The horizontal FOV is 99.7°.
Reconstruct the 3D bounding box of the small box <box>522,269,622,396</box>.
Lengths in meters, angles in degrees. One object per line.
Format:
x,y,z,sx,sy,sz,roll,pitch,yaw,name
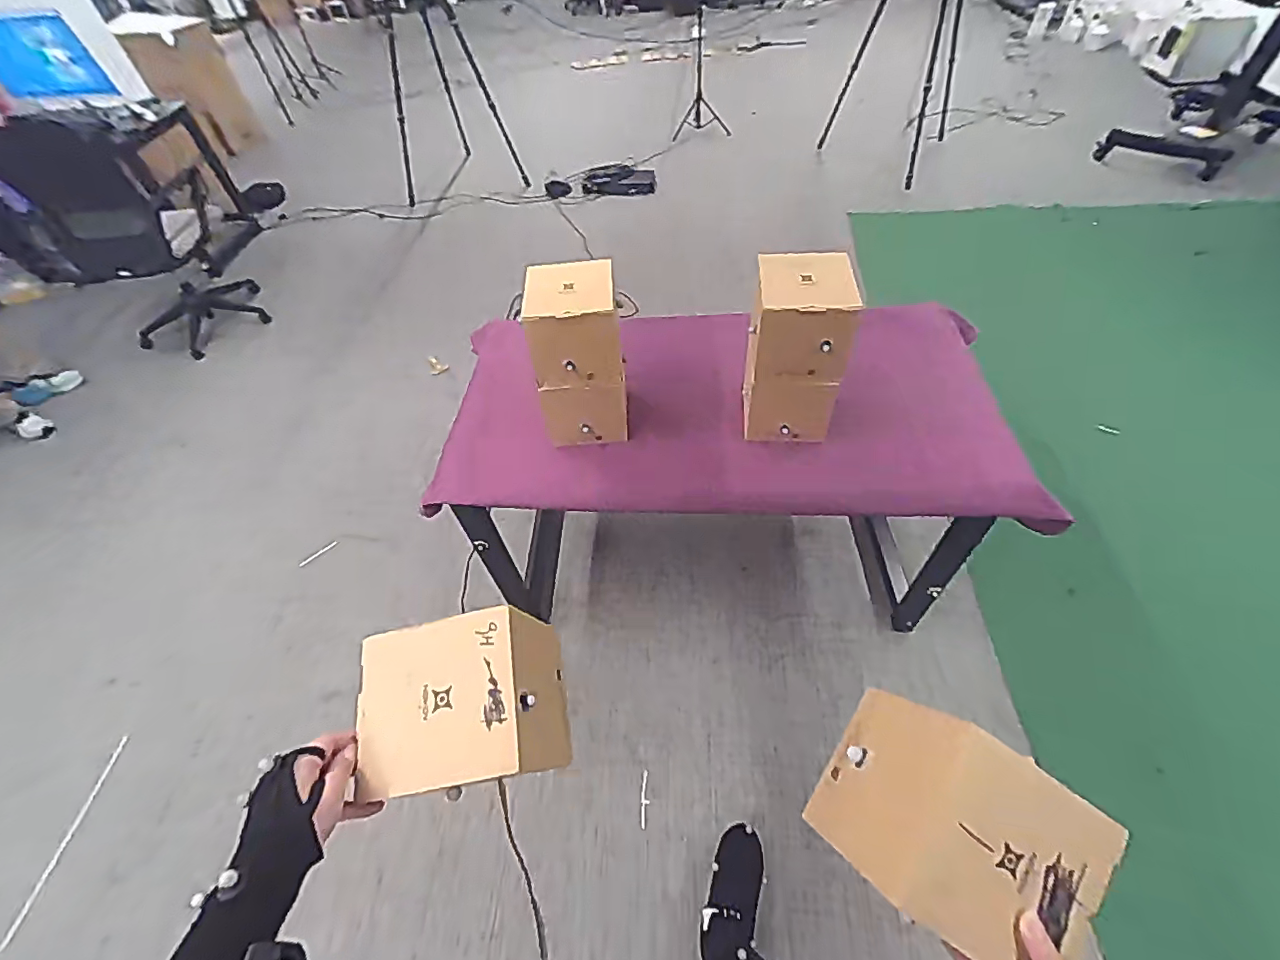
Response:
-0.127,-0.289,1.063,0.168,0.176,0.179,-5,51,1,small box

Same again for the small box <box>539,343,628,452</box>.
-0.116,-0.183,1.186,0.168,0.176,0.179,-4,50,3,small box

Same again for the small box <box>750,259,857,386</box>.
0.298,-0.292,1.020,0.168,0.176,0.179,1,51,7,small box

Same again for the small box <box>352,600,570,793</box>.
-0.197,0.255,0.630,0.179,0.176,0.168,-14,62,6,small box

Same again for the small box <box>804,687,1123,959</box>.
0.300,0.330,0.535,0.179,0.176,0.168,35,76,-1,small box
